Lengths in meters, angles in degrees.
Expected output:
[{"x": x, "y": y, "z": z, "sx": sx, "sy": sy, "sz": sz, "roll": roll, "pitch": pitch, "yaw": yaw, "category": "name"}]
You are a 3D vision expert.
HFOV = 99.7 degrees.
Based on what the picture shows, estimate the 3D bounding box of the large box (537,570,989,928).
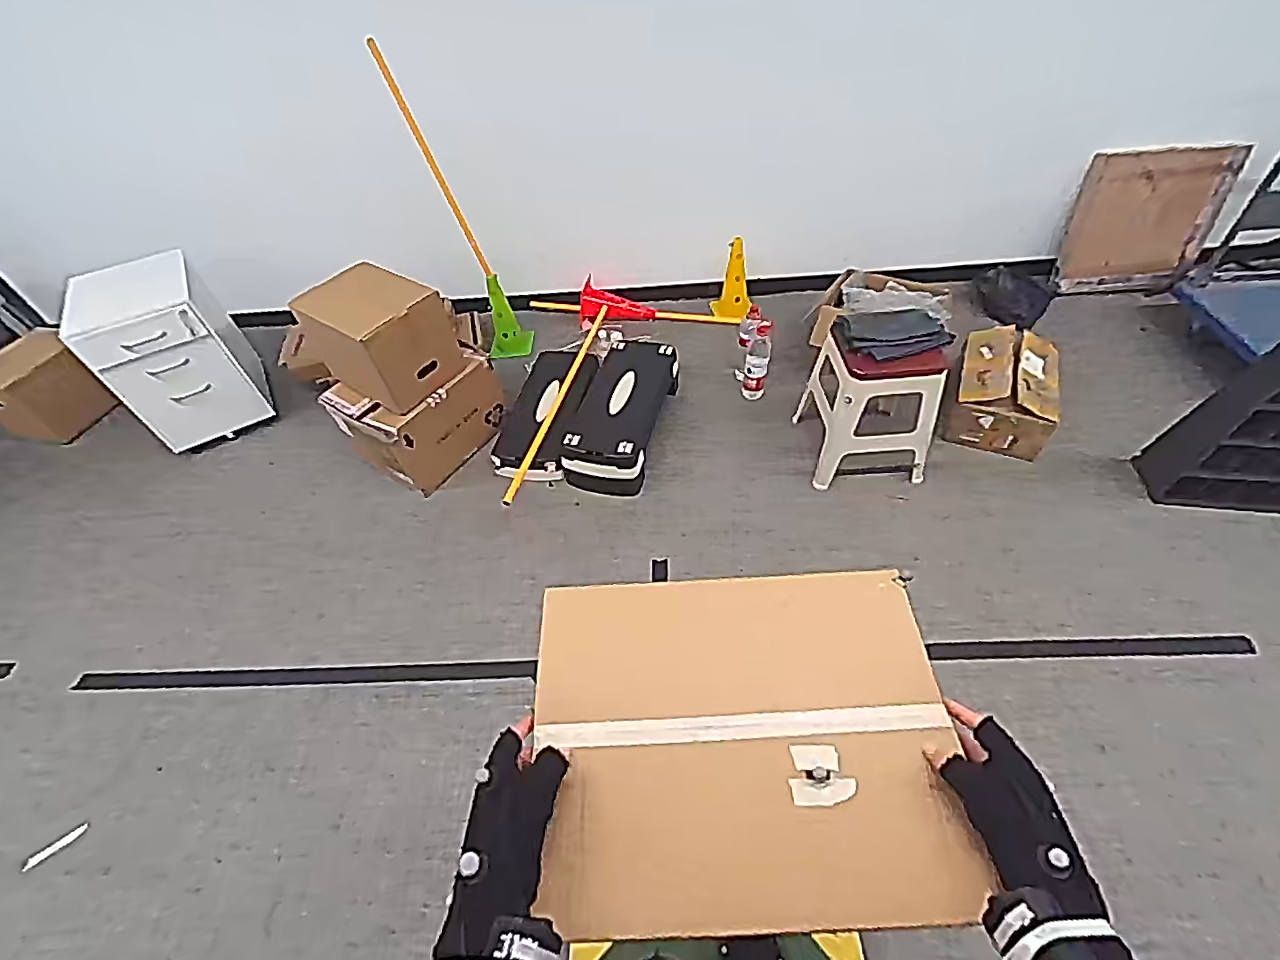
[{"x": 0.103, "y": 0.331, "z": 0.672, "sx": 0.408, "sy": 0.320, "sz": 0.320, "roll": -4, "pitch": 55, "yaw": 0, "category": "large box"}]
